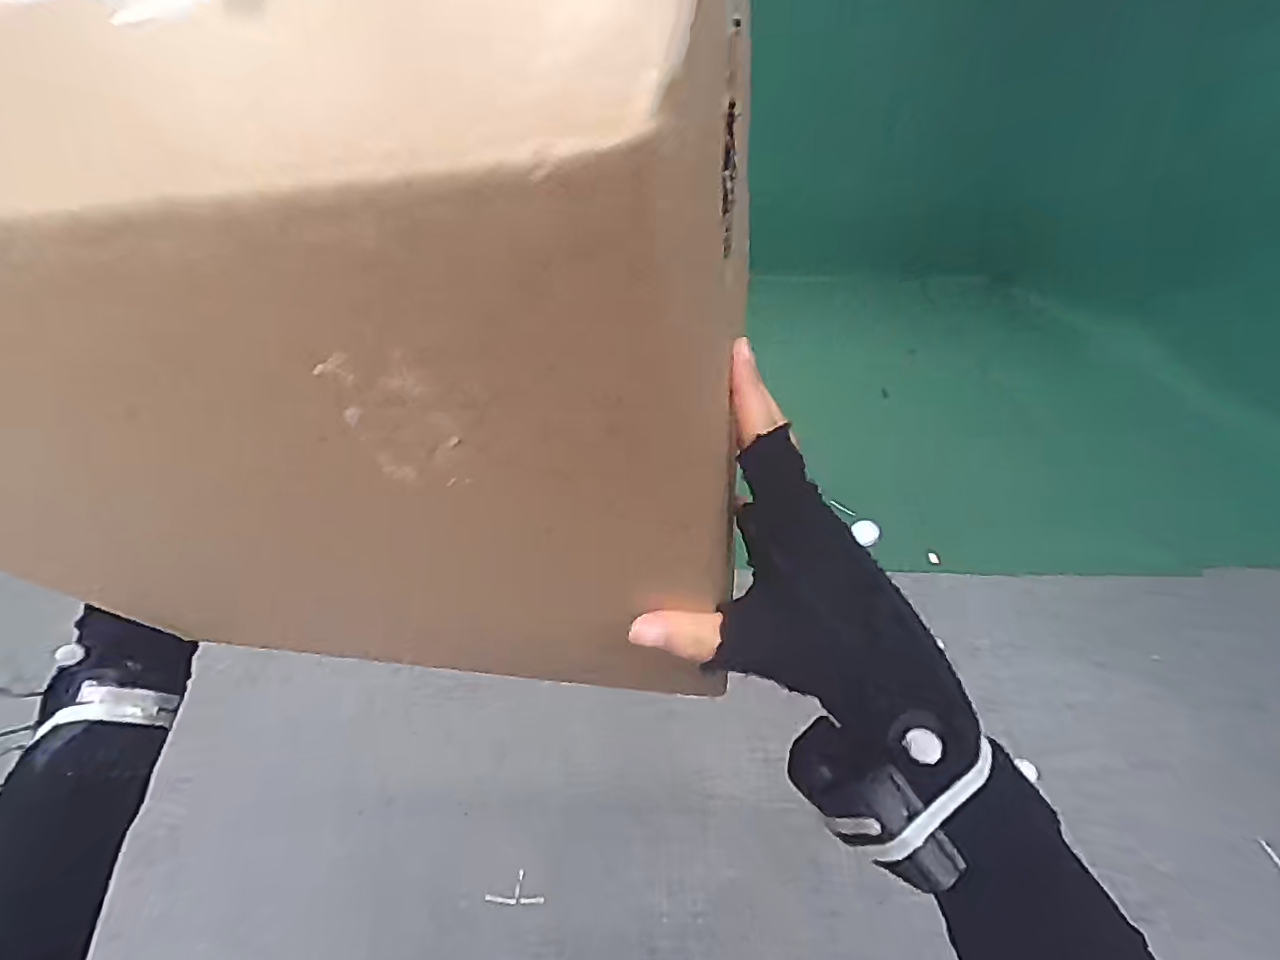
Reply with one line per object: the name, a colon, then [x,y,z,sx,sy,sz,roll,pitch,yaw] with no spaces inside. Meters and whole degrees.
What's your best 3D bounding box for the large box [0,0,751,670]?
large box: [-0.140,-0.090,0.340,0.408,0.320,0.320,2,57,12]
